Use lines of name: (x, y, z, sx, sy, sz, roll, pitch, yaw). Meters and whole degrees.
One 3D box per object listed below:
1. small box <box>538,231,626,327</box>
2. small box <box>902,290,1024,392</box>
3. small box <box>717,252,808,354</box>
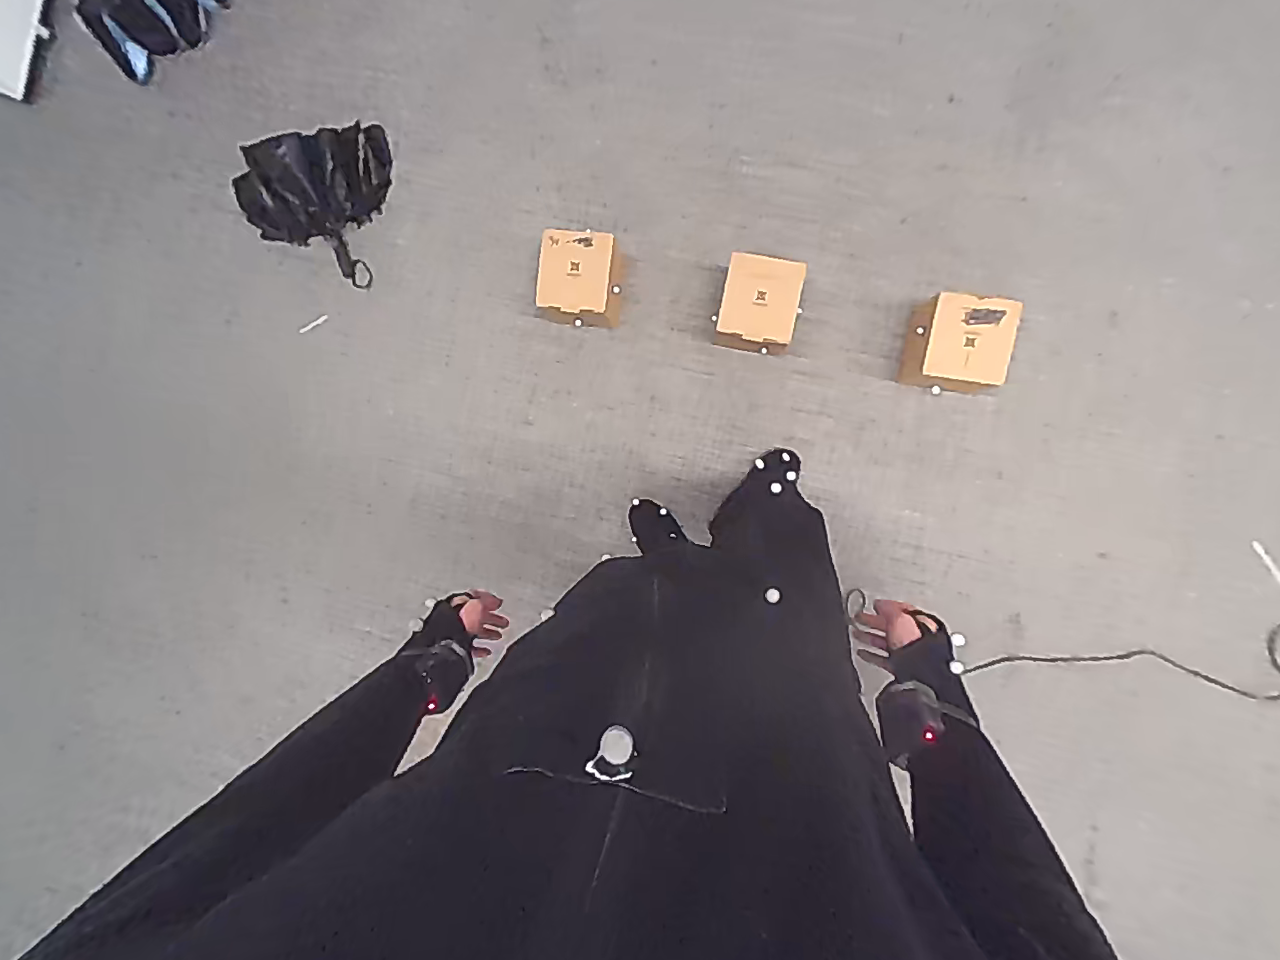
small box: (-0.132, -0.472, 1.295, 0.168, 0.176, 0.179, 7, 95, 7)
small box: (0.701, -0.300, 1.196, 0.168, 0.176, 0.179, 10, 95, 8)
small box: (0.275, -0.399, 1.249, 0.168, 0.176, 0.179, 10, 94, 5)
